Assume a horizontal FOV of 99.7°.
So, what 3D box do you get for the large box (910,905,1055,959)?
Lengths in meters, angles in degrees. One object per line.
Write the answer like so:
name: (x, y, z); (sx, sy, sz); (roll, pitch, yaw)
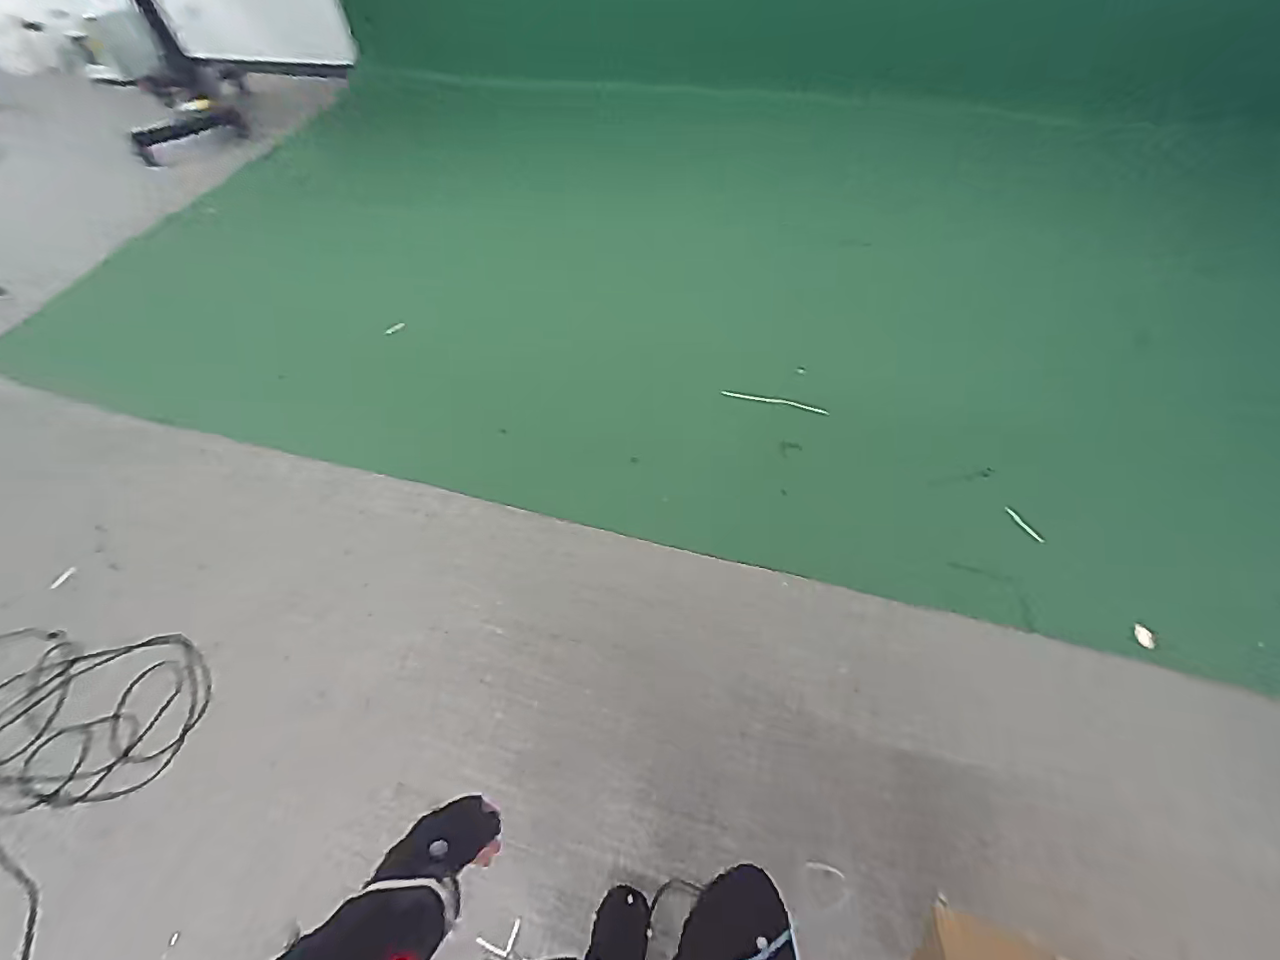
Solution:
large box: (0.449, 0.795, 0.554); (0.320, 0.408, 0.320); (18, 97, 18)
